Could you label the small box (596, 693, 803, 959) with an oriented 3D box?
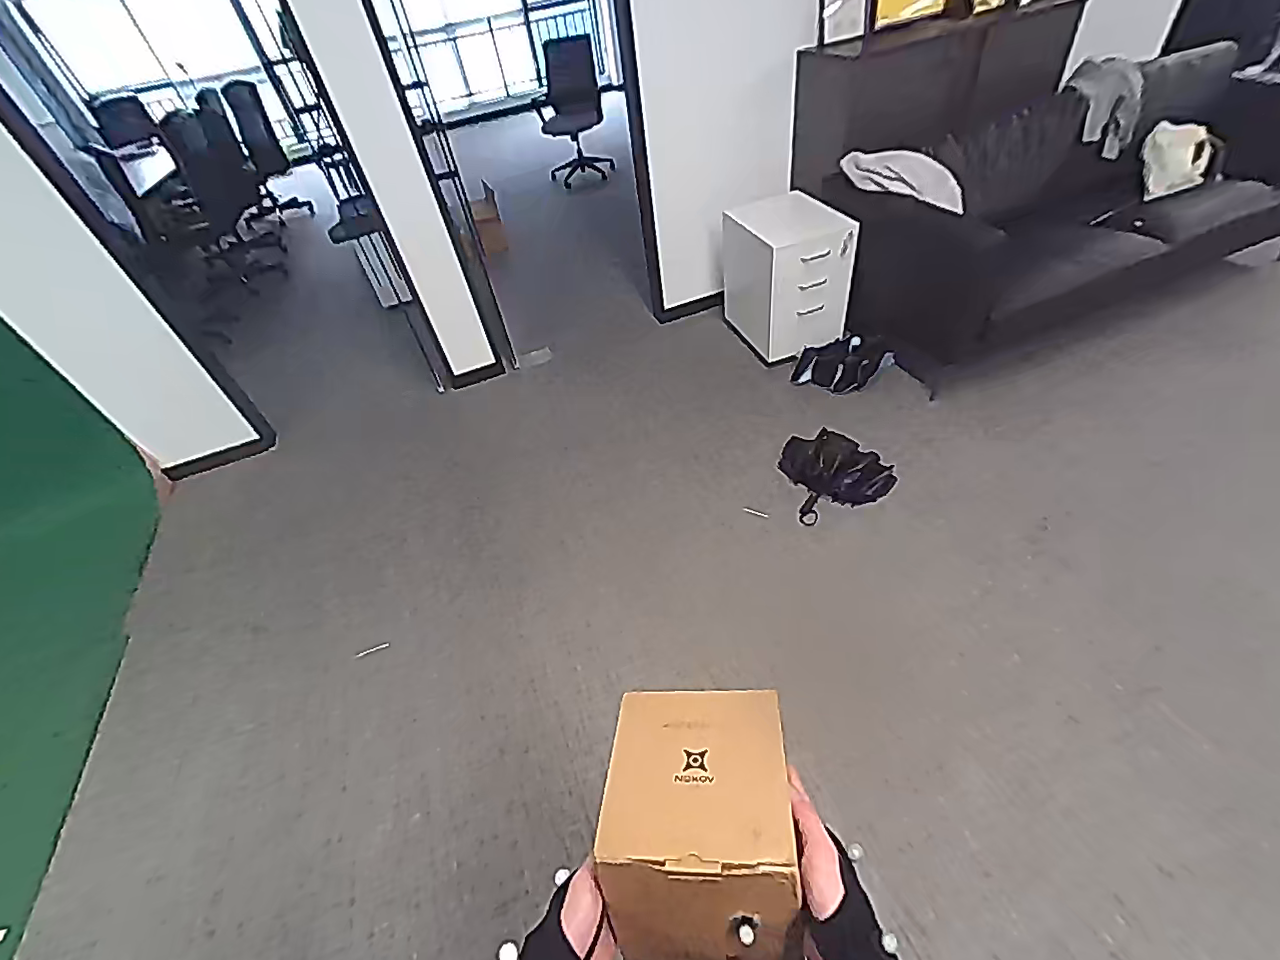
[{"bbox_3d":[0.065,0.339,0.532,0.168,0.176,0.179,-4,24,9],"label":"small box"}]
